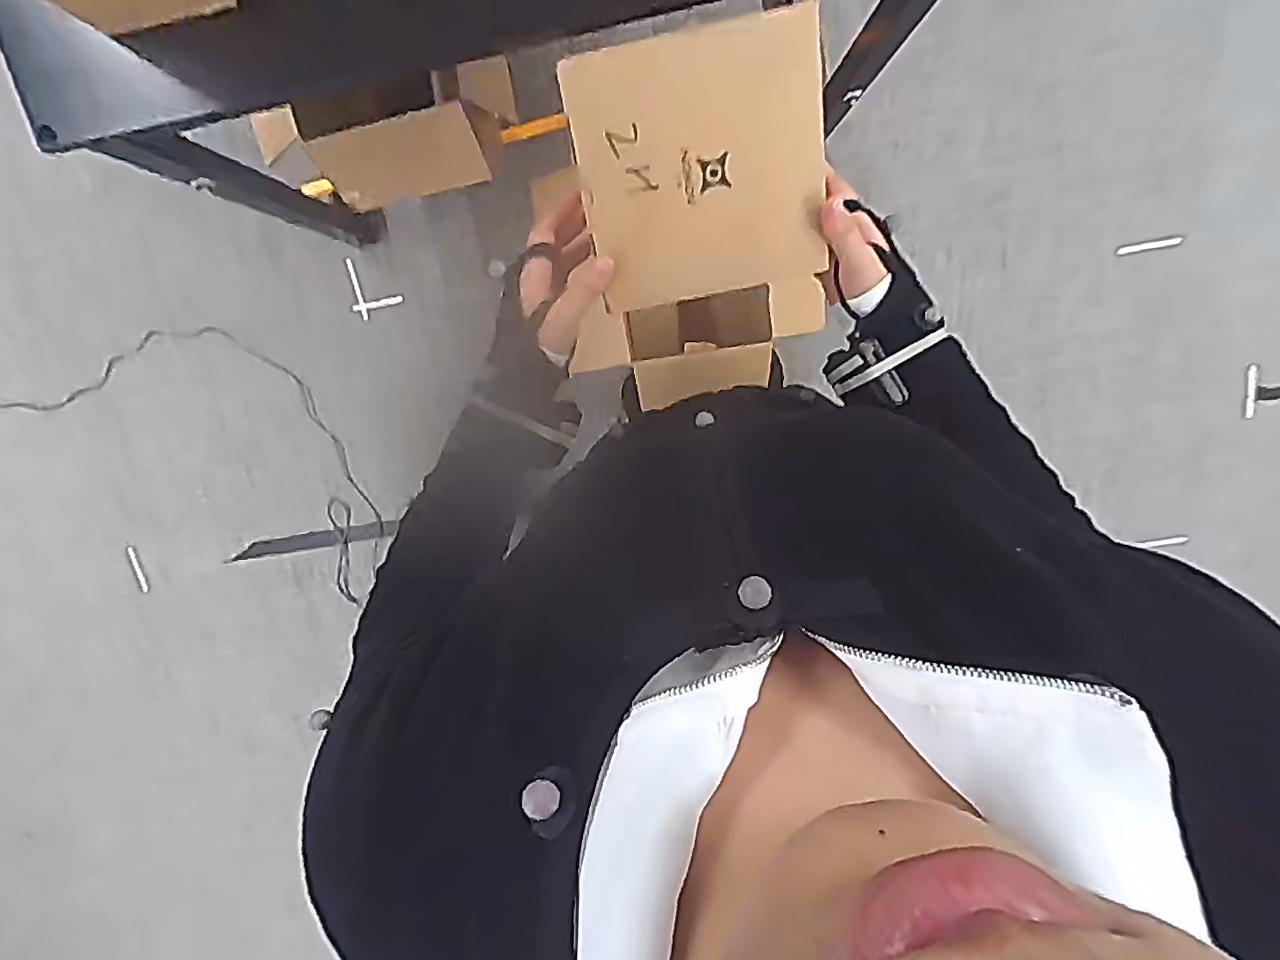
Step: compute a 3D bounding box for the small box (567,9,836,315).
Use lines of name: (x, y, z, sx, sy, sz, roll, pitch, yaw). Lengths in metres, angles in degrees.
small box: (0.047, -0.247, 0.453, 0.179, 0.176, 0.168, -10, 114, 4)

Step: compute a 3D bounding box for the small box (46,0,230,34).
small box: (-0.565, -0.592, 0.539, 0.179, 0.176, 0.168, -9, 103, 2)
